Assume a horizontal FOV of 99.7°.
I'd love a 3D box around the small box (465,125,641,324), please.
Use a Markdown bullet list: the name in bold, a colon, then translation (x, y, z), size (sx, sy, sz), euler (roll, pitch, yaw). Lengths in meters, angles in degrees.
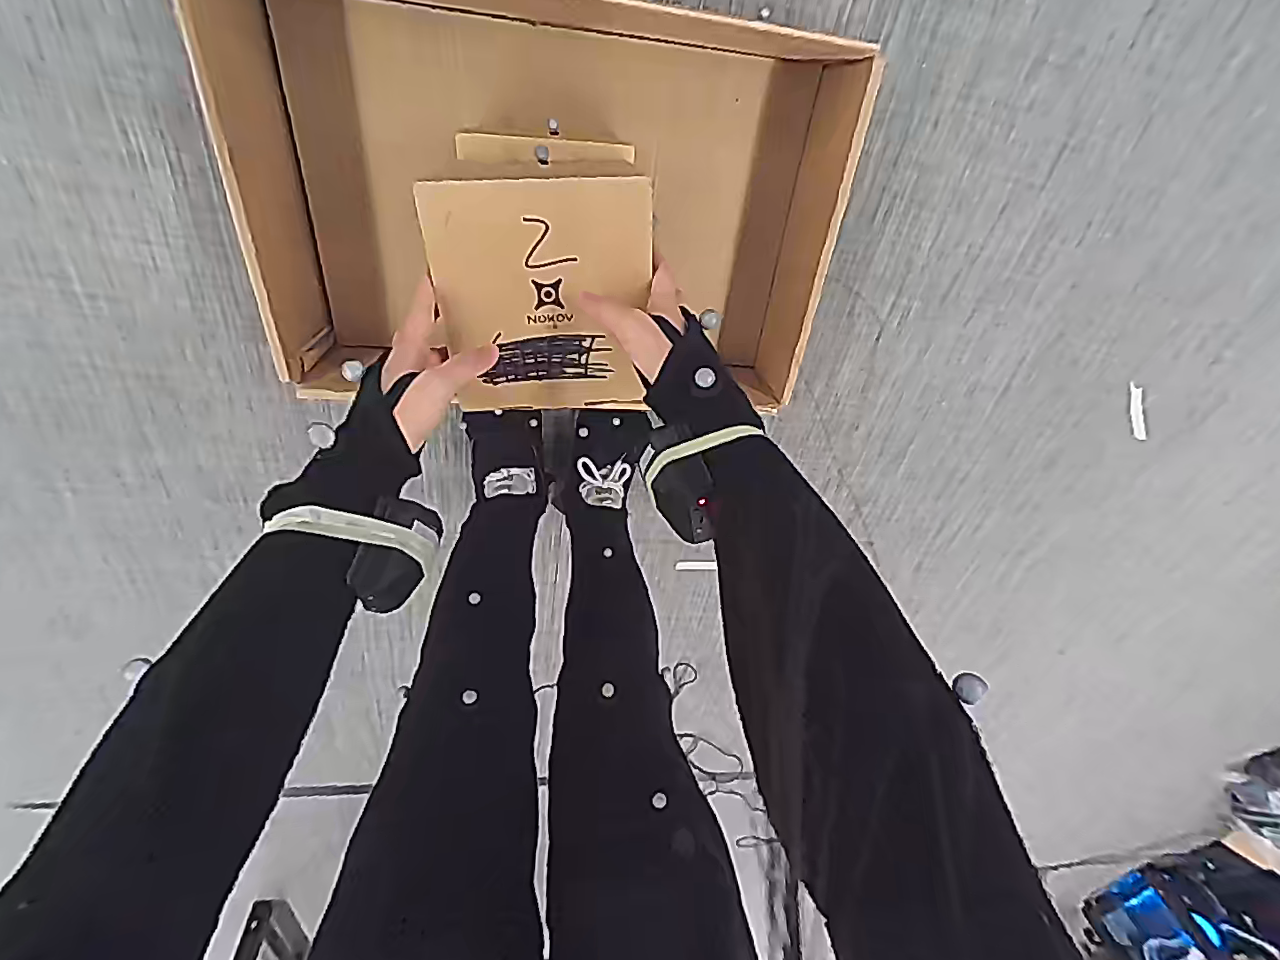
- **small box**: translation (-0.097, -0.291, 0.611), size (0.168, 0.176, 0.179), euler (0, 125, -8)
